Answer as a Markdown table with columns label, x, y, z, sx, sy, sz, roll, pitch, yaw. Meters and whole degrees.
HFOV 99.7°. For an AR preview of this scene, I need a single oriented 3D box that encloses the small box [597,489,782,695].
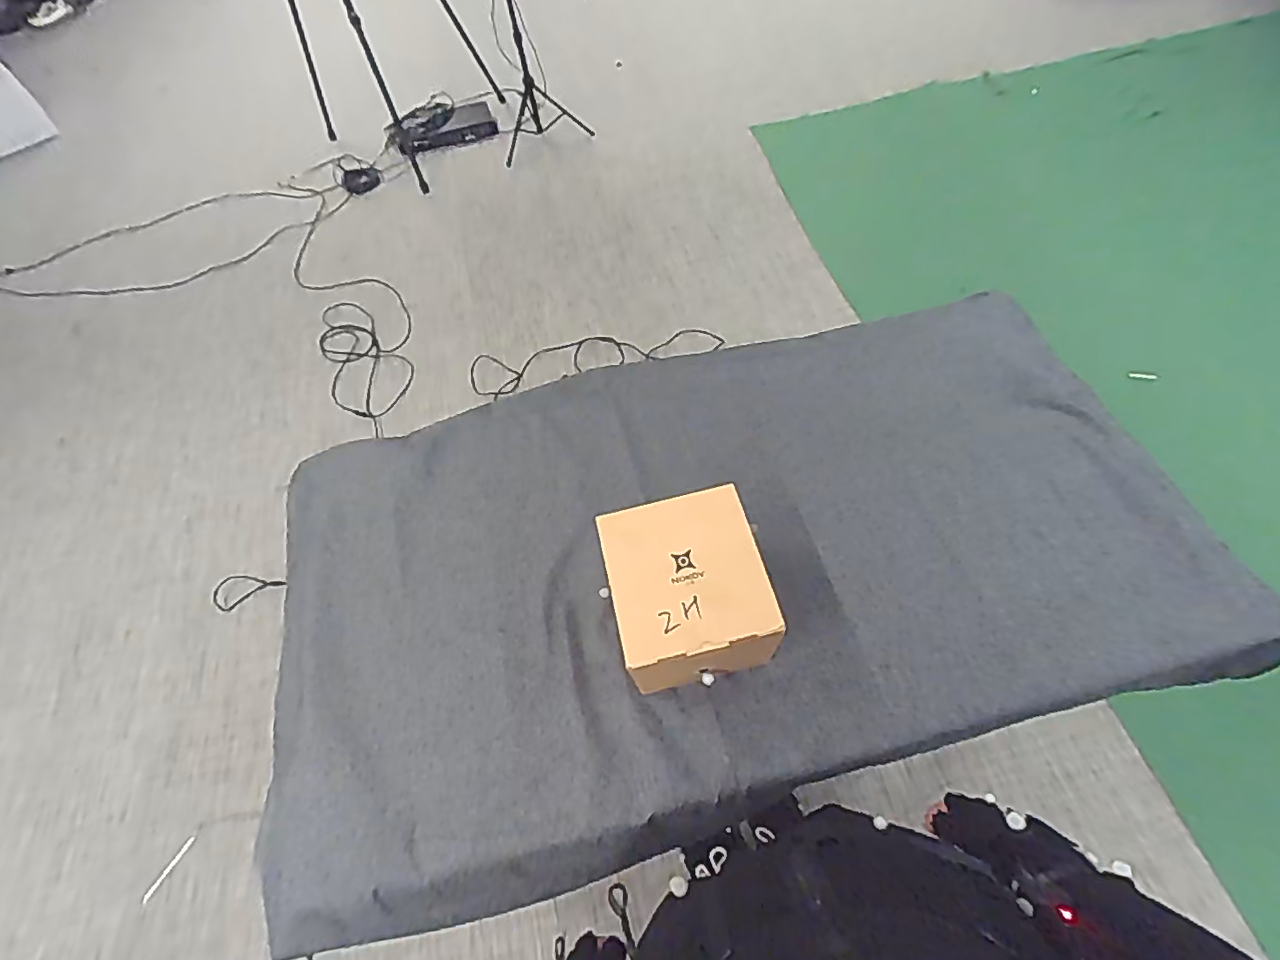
| label | x | y | z | sx | sy | sz | roll | pitch | yaw |
| --- | --- | --- | --- | --- | --- | --- | --- | --- | --- |
| small box | 0.052 | 0.139 | 0.646 | 0.168 | 0.176 | 0.179 | -14 | 61 | -2 |
